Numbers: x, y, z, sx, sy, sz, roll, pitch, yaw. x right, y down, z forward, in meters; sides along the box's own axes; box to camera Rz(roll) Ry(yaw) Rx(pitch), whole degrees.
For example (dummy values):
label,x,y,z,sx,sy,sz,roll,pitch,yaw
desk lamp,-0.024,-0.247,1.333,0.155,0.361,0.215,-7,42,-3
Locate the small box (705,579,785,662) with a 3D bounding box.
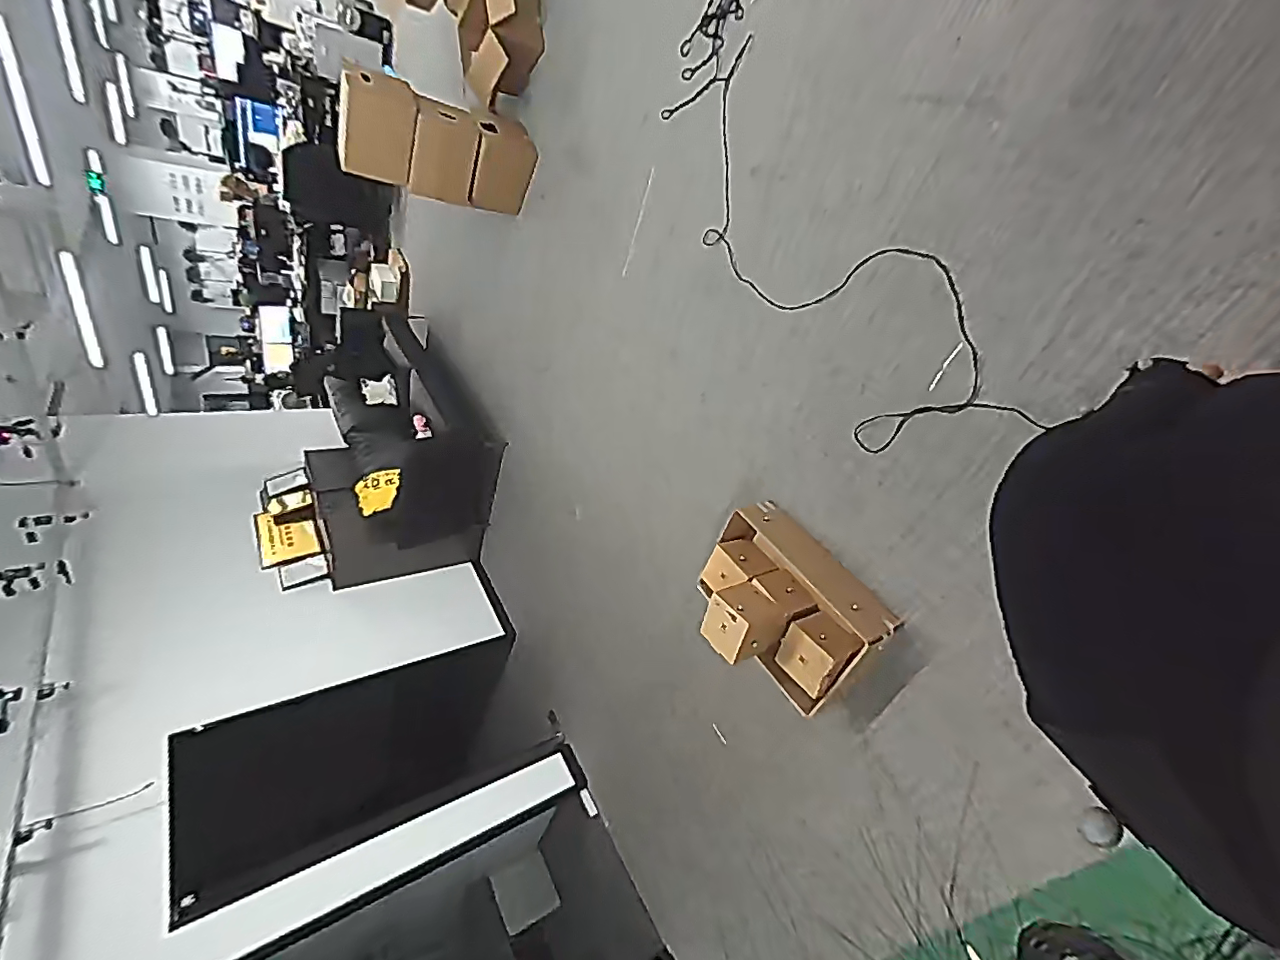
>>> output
label,x,y,z,sx,sy,sz,roll,pitch,yaw
small box,0.345,0.452,1.761,0.168,0.176,0.179,40,127,42
